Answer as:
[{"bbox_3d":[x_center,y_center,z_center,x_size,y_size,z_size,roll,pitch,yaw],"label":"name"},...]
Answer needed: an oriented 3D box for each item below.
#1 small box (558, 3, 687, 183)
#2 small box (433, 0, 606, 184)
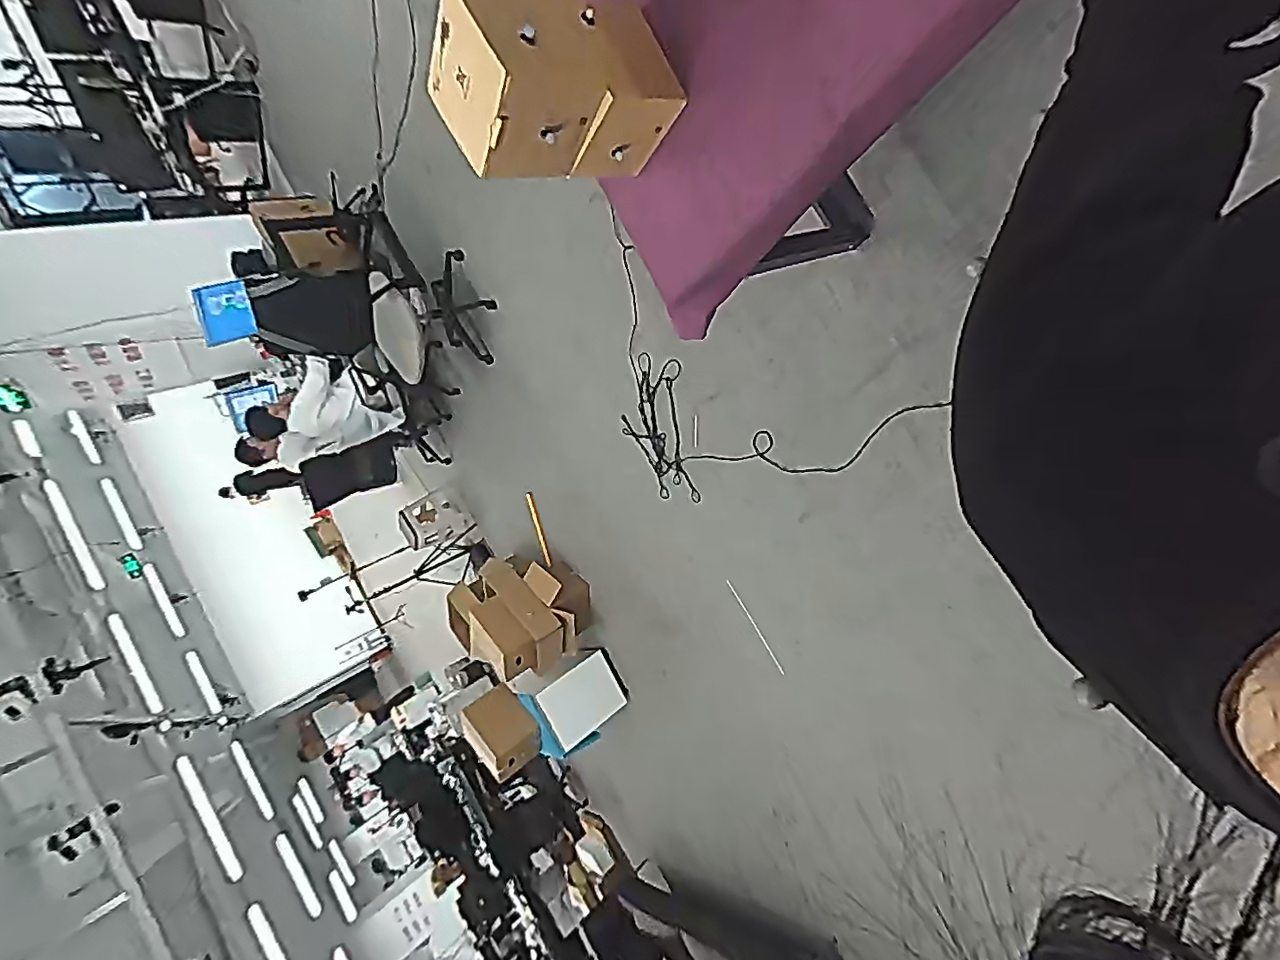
[{"bbox_3d":[-0.053,-0.632,0.896,0.168,0.176,0.179,-31,86,55],"label":"small box"},{"bbox_3d":[-0.178,-0.579,0.803,0.179,0.176,0.168,59,144,6],"label":"small box"}]
